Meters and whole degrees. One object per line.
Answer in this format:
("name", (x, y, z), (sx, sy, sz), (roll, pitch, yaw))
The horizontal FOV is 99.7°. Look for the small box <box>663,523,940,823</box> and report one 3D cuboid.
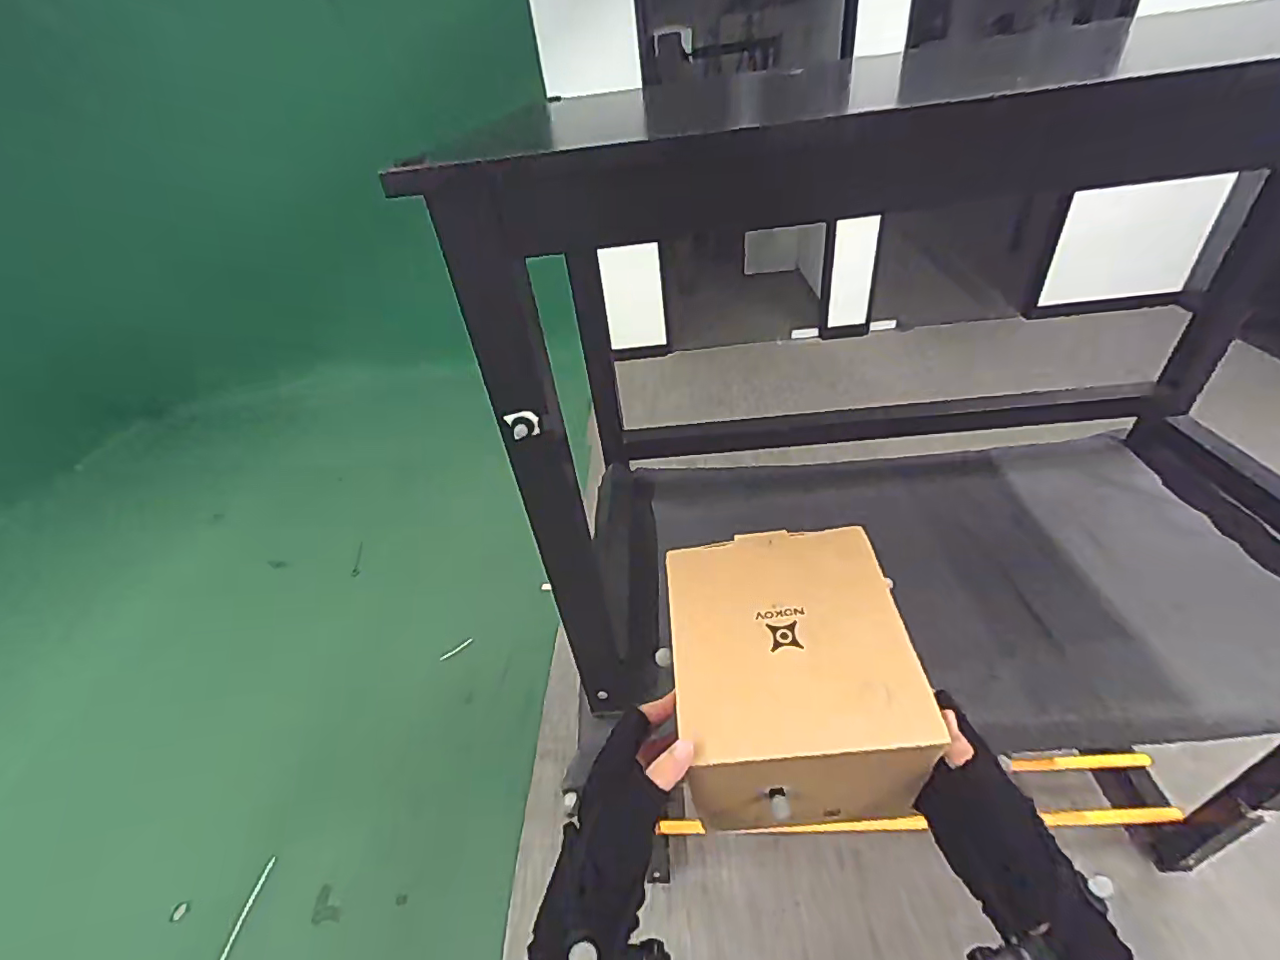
("small box", (0.116, 0.164, 0.446), (0.168, 0.176, 0.179), (-8, 42, 6))
